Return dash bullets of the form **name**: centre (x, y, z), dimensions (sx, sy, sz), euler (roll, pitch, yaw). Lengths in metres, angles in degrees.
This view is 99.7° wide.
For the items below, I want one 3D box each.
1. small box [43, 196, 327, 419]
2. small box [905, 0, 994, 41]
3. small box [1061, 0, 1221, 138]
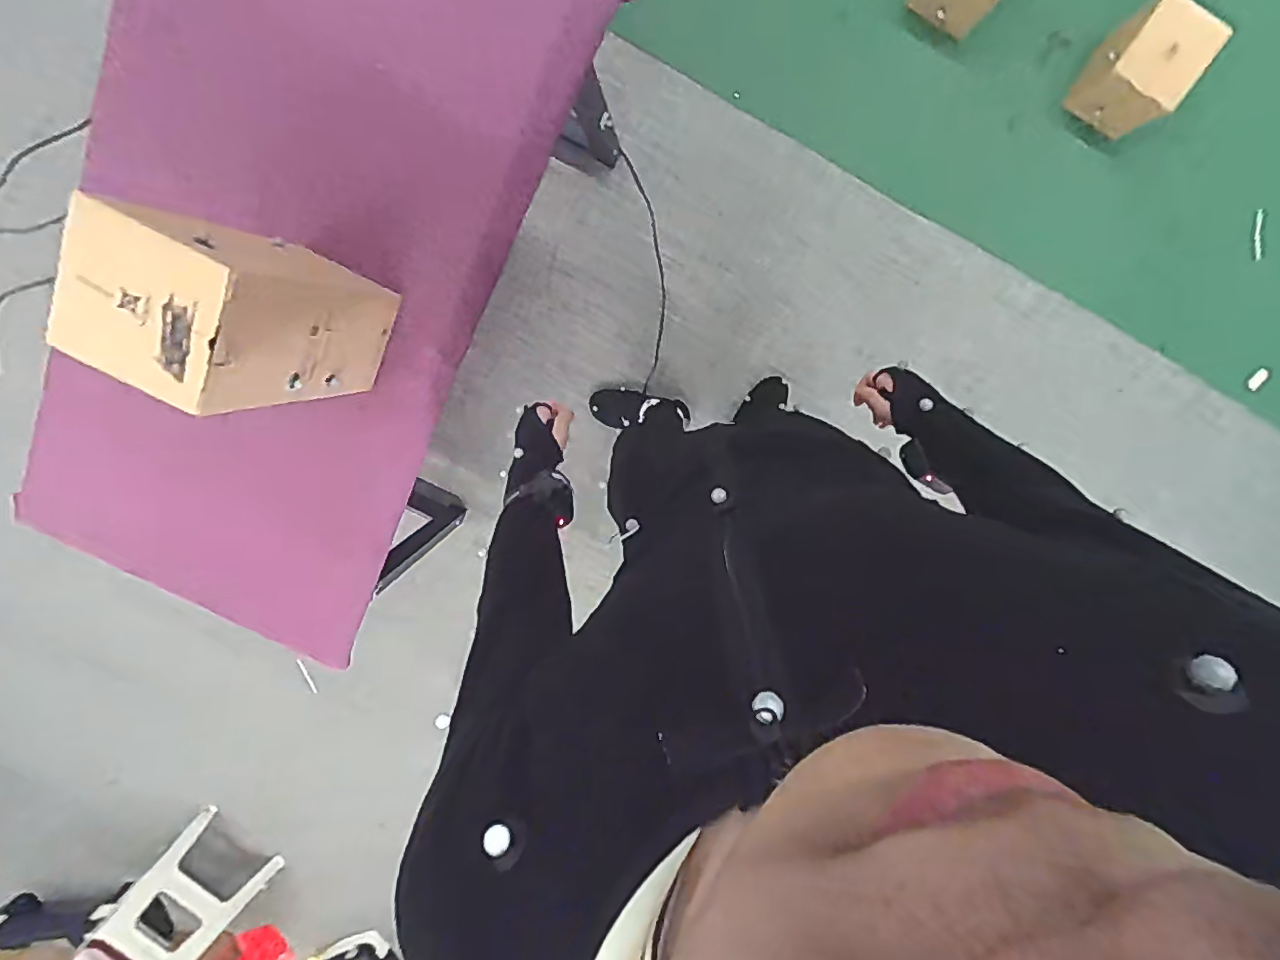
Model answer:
- **small box**: centre (-0.508, -0.192, 0.628), dimensions (0.179, 0.176, 0.168), euler (27, 104, -2)
- **small box**: centre (0.736, -1.157, 1.215), dimensions (0.168, 0.176, 0.179), euler (29, 104, -3)
- **small box**: centre (1.137, -0.939, 1.245), dimensions (0.168, 0.176, 0.179), euler (29, 105, -4)
